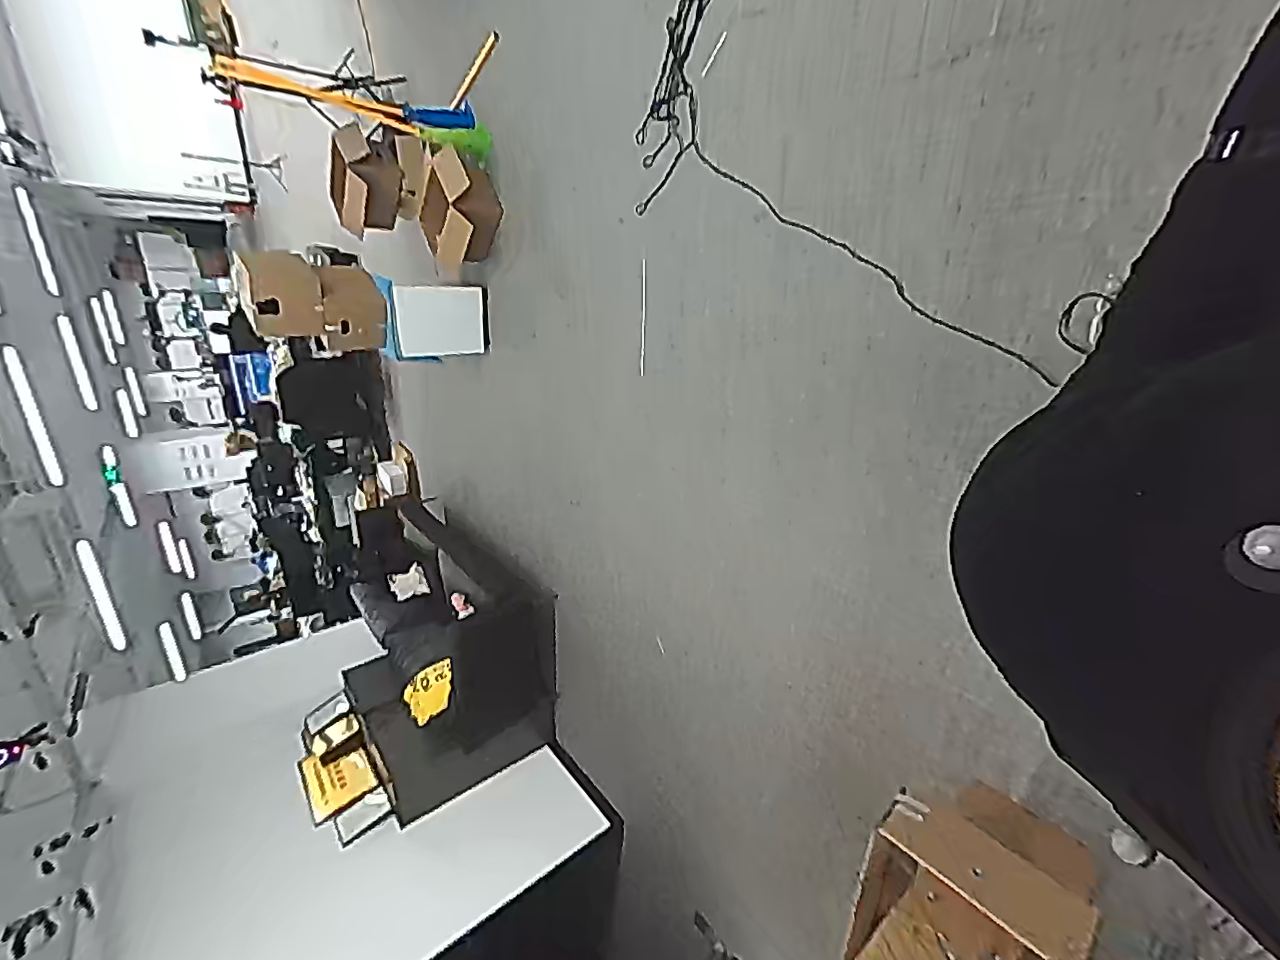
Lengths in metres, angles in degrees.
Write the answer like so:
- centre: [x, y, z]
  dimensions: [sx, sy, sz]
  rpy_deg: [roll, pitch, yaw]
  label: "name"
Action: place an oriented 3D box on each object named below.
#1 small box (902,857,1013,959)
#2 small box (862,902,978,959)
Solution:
- centre: [0.699, 0.990, 1.190]
  dimensions: [0.168, 0.176, 0.179]
  rpy_deg: [5, 106, 52]
  label: "small box"
- centre: [0.572, 1.020, 1.092]
  dimensions: [0.168, 0.176, 0.179]
  rpy_deg: [5, 106, 52]
  label: "small box"
